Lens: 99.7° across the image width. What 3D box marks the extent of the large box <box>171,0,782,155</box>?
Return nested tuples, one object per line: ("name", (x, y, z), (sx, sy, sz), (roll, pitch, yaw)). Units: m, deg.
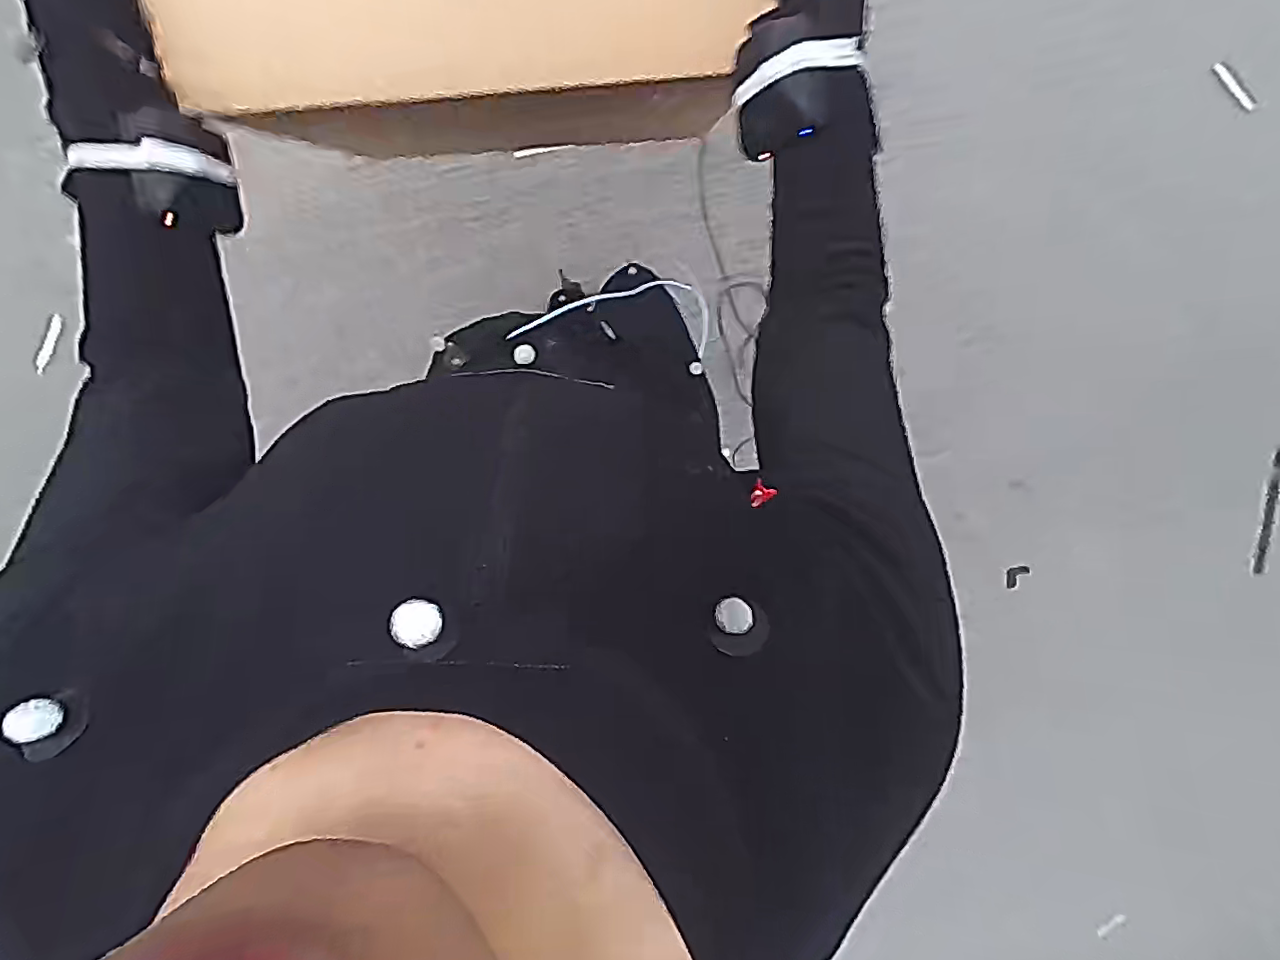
("large box", (-0.121, -0.476, 0.444), (0.408, 0.320, 0.320), (-5, 117, -2))
